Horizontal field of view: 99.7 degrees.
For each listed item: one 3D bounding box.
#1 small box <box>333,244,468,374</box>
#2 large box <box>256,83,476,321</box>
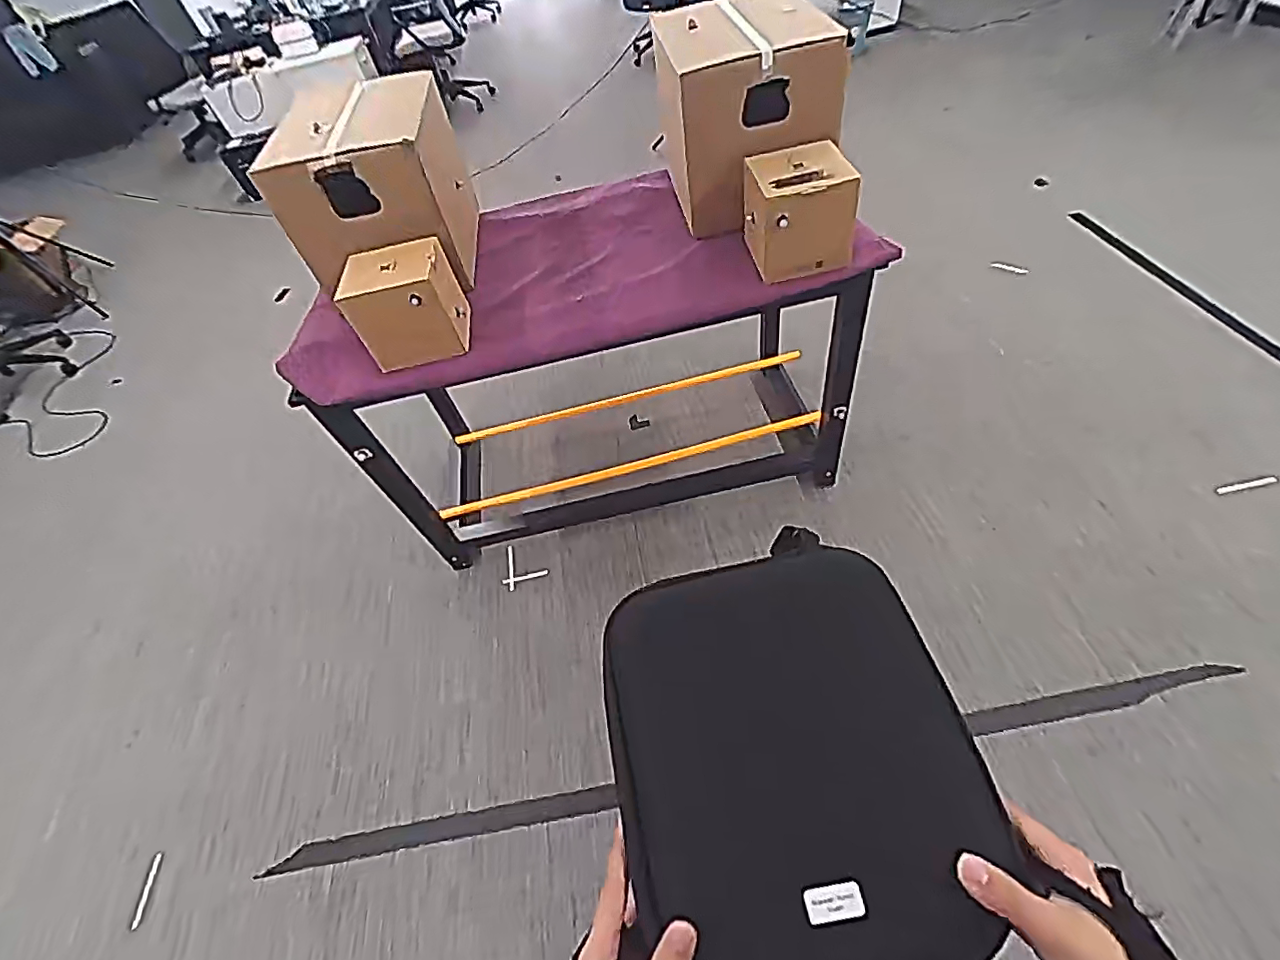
[{"bbox_3d":[-0.458,-0.330,1.062,0.179,0.176,0.168,-13,50,0],"label":"small box"},{"bbox_3d":[-0.572,-0.627,1.224,0.320,0.320,0.408,-12,54,1],"label":"large box"}]
